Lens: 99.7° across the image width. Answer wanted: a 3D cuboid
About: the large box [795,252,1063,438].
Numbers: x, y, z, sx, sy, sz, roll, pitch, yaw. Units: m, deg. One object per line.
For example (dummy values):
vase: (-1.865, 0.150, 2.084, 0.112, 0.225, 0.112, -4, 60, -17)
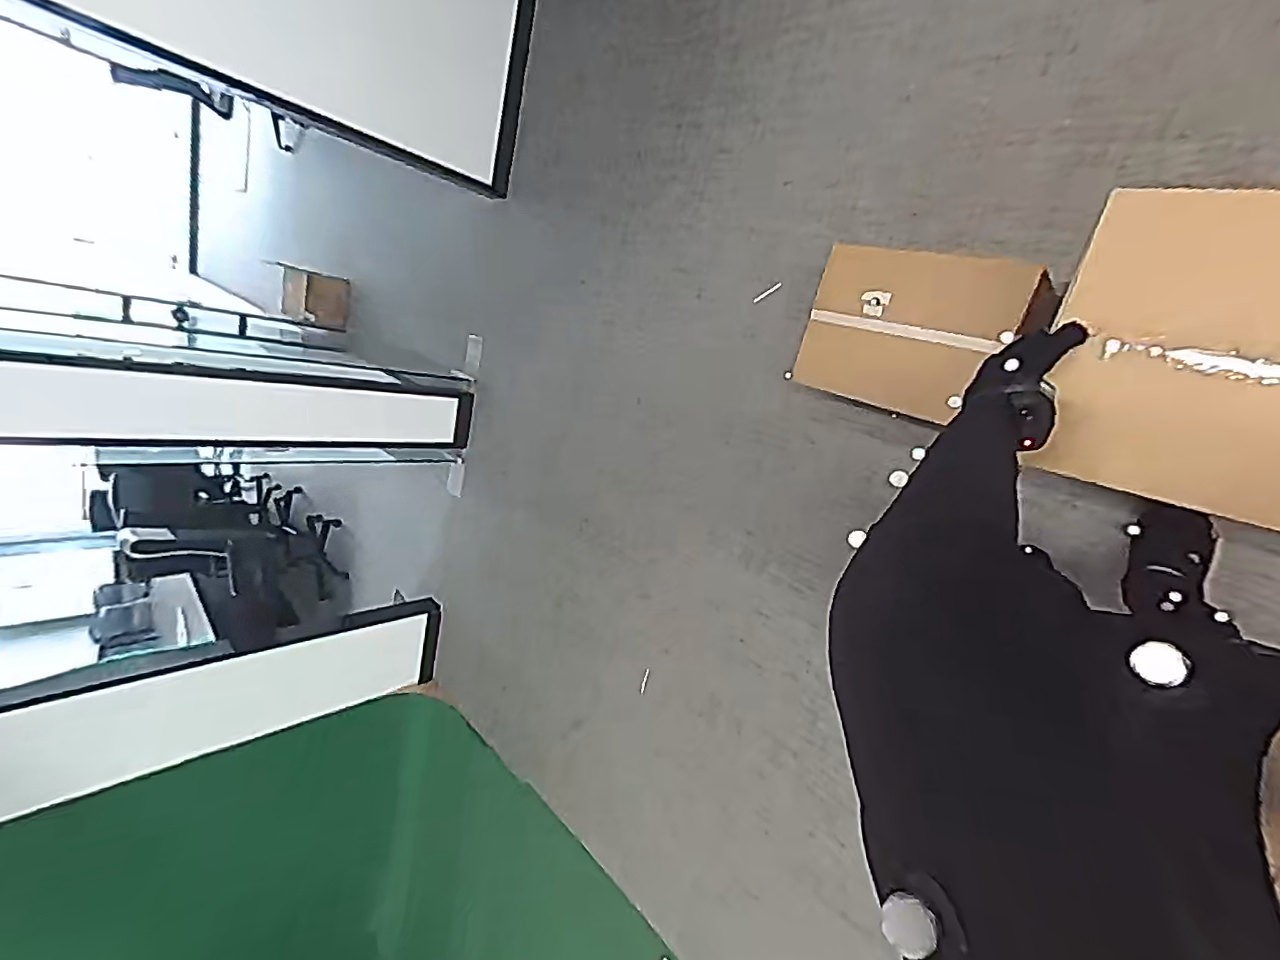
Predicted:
large box: (0.635, -0.296, 1.208, 0.408, 0.320, 0.320, 28, 109, 39)
